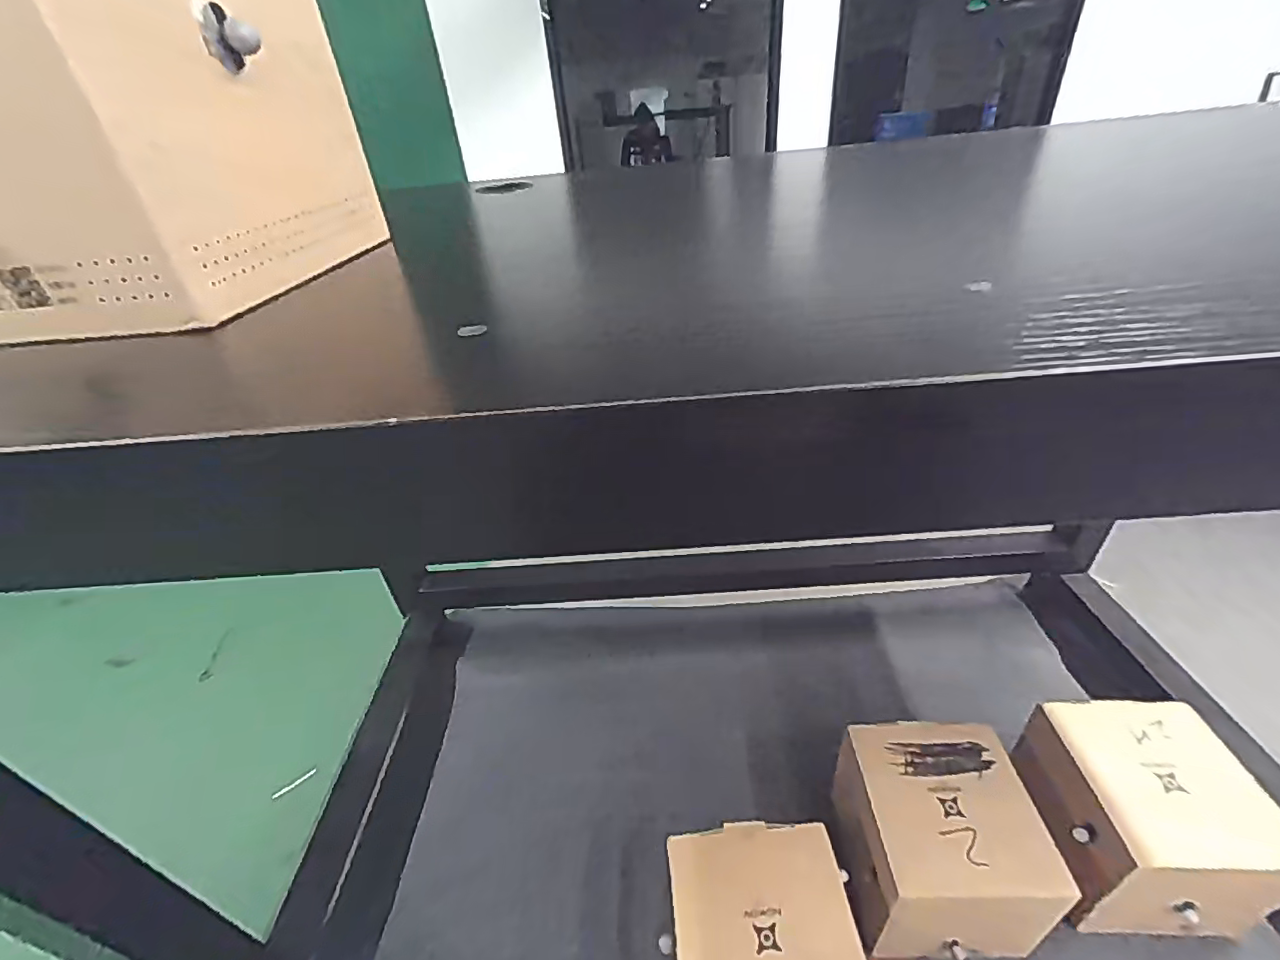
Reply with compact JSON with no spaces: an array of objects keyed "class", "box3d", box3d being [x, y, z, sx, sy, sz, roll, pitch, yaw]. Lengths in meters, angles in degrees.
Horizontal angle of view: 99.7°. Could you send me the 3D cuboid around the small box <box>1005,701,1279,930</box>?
[{"class":"small box","box3d":[0.561,0.379,0.617,0.168,0.176,0.179,-2,34,5]}]
